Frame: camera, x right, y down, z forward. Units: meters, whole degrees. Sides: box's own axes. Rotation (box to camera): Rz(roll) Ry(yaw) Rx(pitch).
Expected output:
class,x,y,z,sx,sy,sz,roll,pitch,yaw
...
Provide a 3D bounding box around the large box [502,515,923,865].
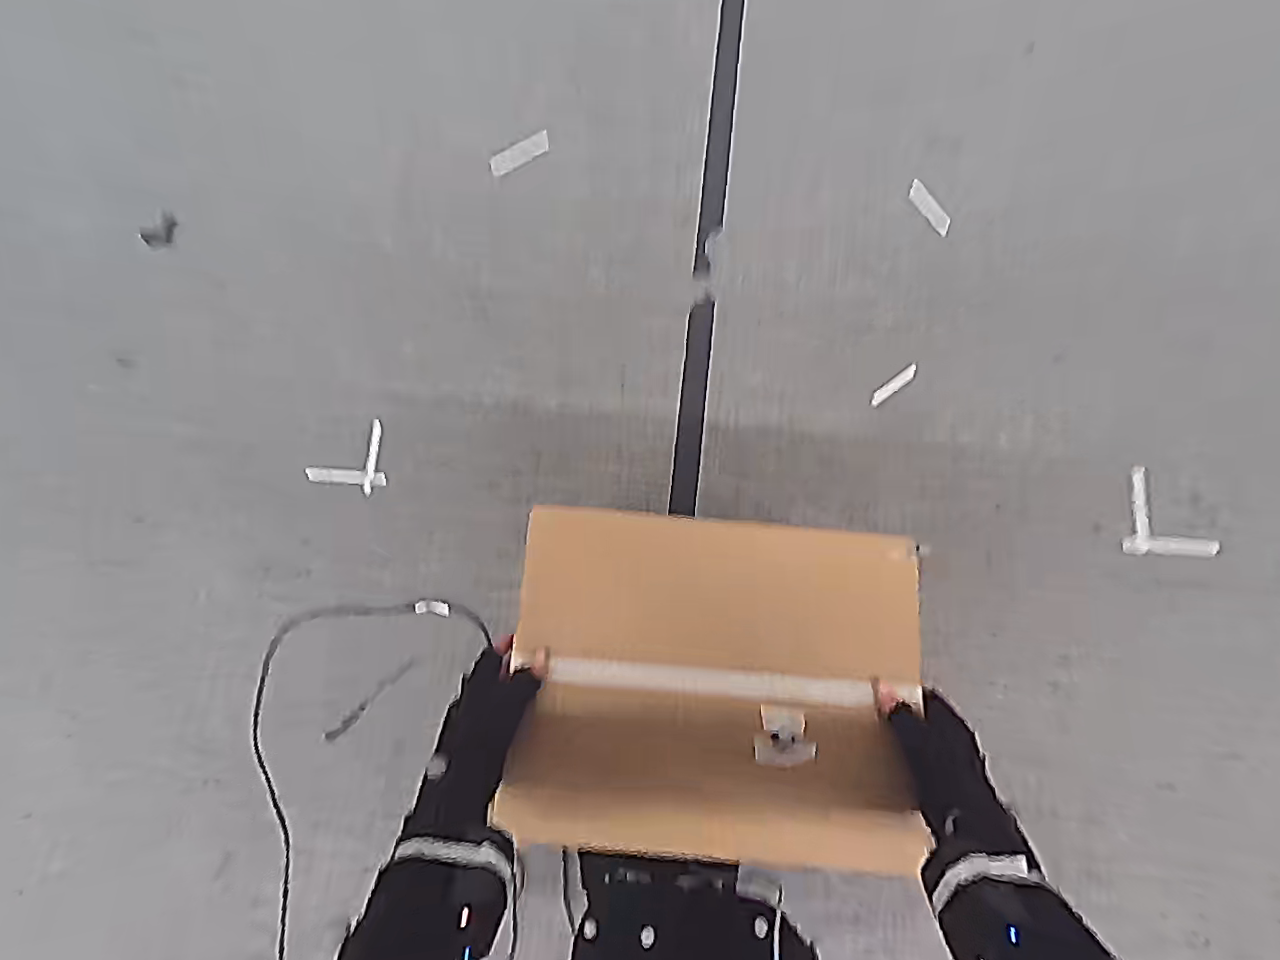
class,x,y,z,sx,sy,sz,roll,pitch,yaw
large box,0.072,0.231,0.680,0.408,0.320,0.320,5,78,0
